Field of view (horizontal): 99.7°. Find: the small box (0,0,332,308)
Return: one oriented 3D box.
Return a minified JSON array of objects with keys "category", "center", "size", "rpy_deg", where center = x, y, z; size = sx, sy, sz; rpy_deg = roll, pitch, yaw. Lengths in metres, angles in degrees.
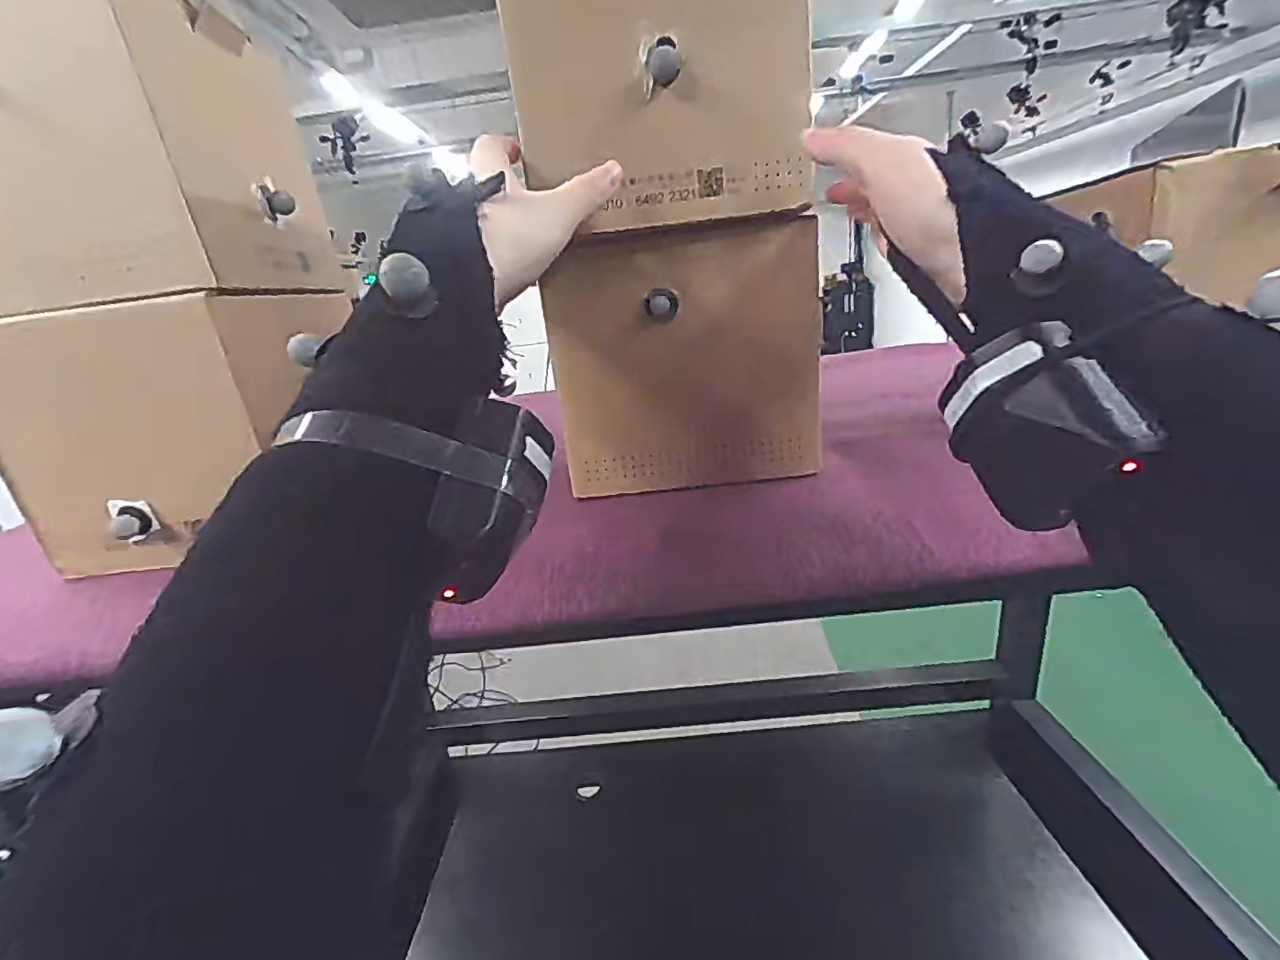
[{"category":"small box","center":[-0.346,-0.203,0.352],"size":[0.179,0.176,0.168],"rpy_deg":[-9,20,-1]}]

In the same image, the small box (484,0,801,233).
[{"category":"small box","center":[0.001,-0.254,0.360],"size":[0.168,0.176,0.179],"rpy_deg":[-8,18,-1]}]

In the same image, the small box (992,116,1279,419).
[{"category":"small box","center":[0.385,-0.145,0.394],"size":[0.168,0.176,0.179],"rpy_deg":[-7,17,6]}]

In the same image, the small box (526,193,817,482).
[{"category":"small box","center":[0.028,-0.103,0.421],"size":[0.179,0.176,0.168],"rpy_deg":[-6,18,3]}]
